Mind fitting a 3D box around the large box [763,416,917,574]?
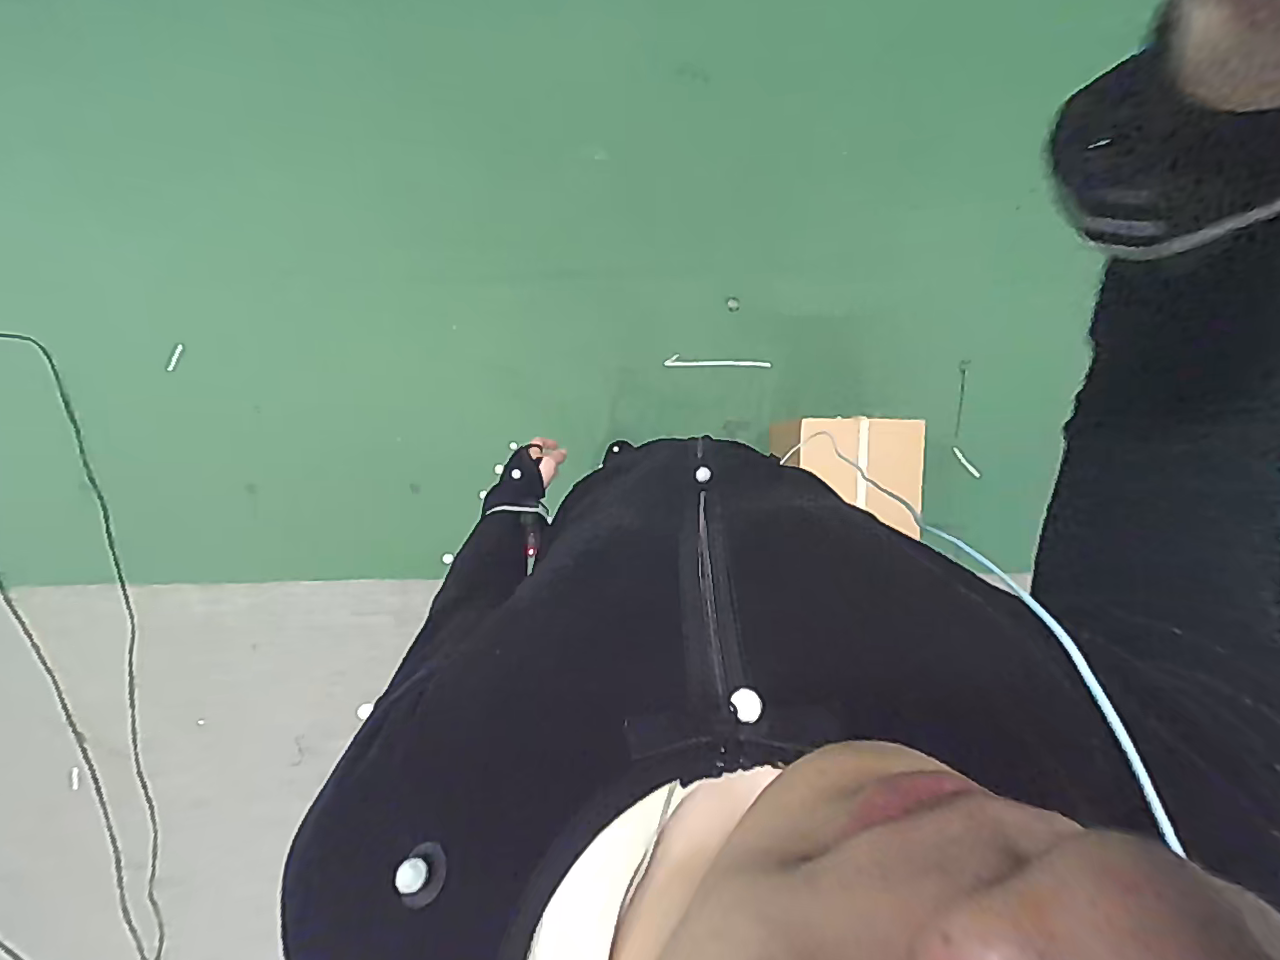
[{"bbox_3d":[0.534,0.028,1.507,0.320,0.320,0.408,1,94,-1],"label":"large box"}]
